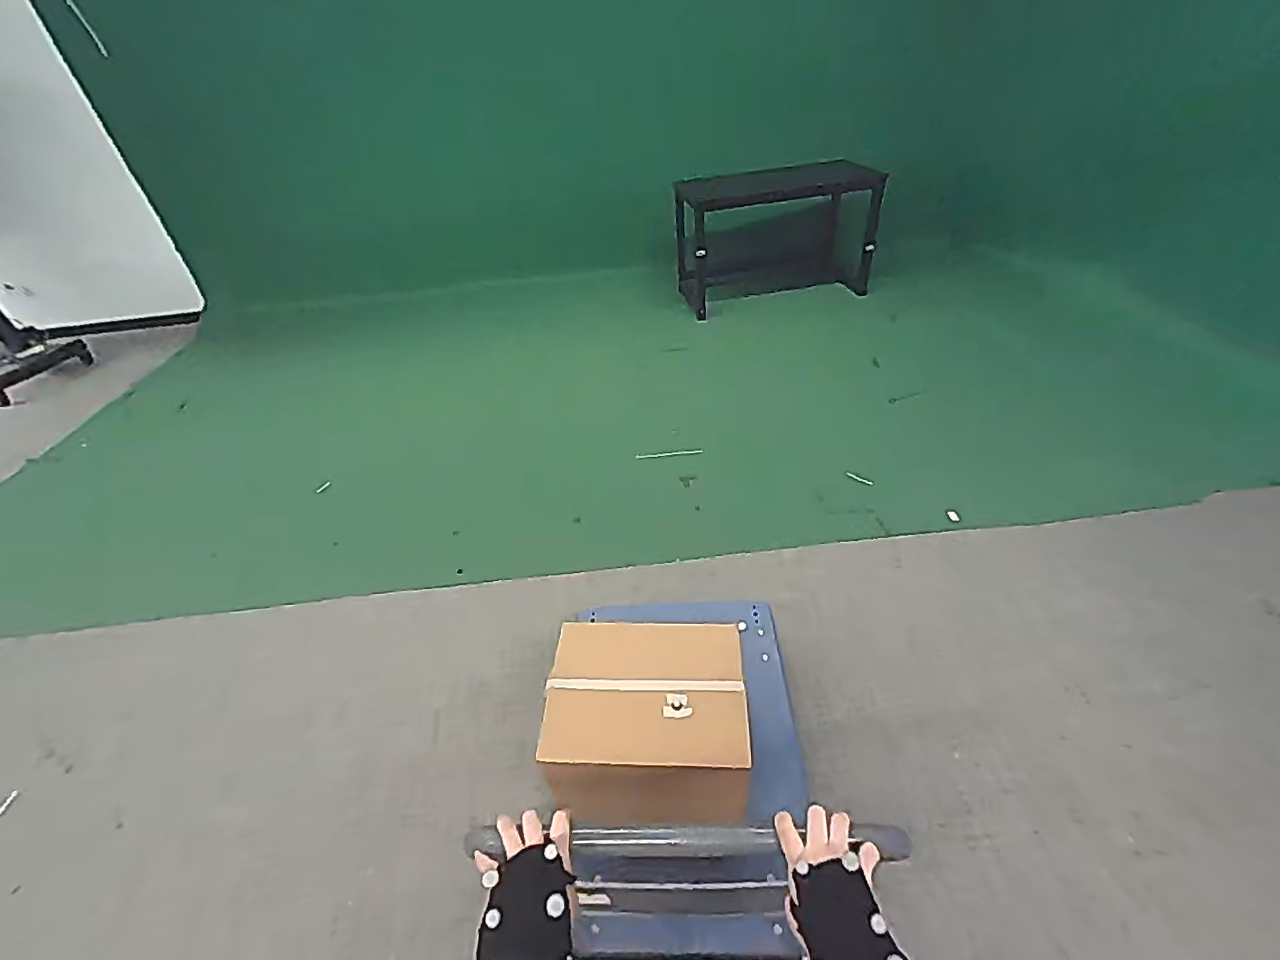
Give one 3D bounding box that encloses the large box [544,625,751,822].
[{"bbox_3d":[0.024,0.549,1.229,0.408,0.320,0.320,-1,39,5],"label":"large box"}]
